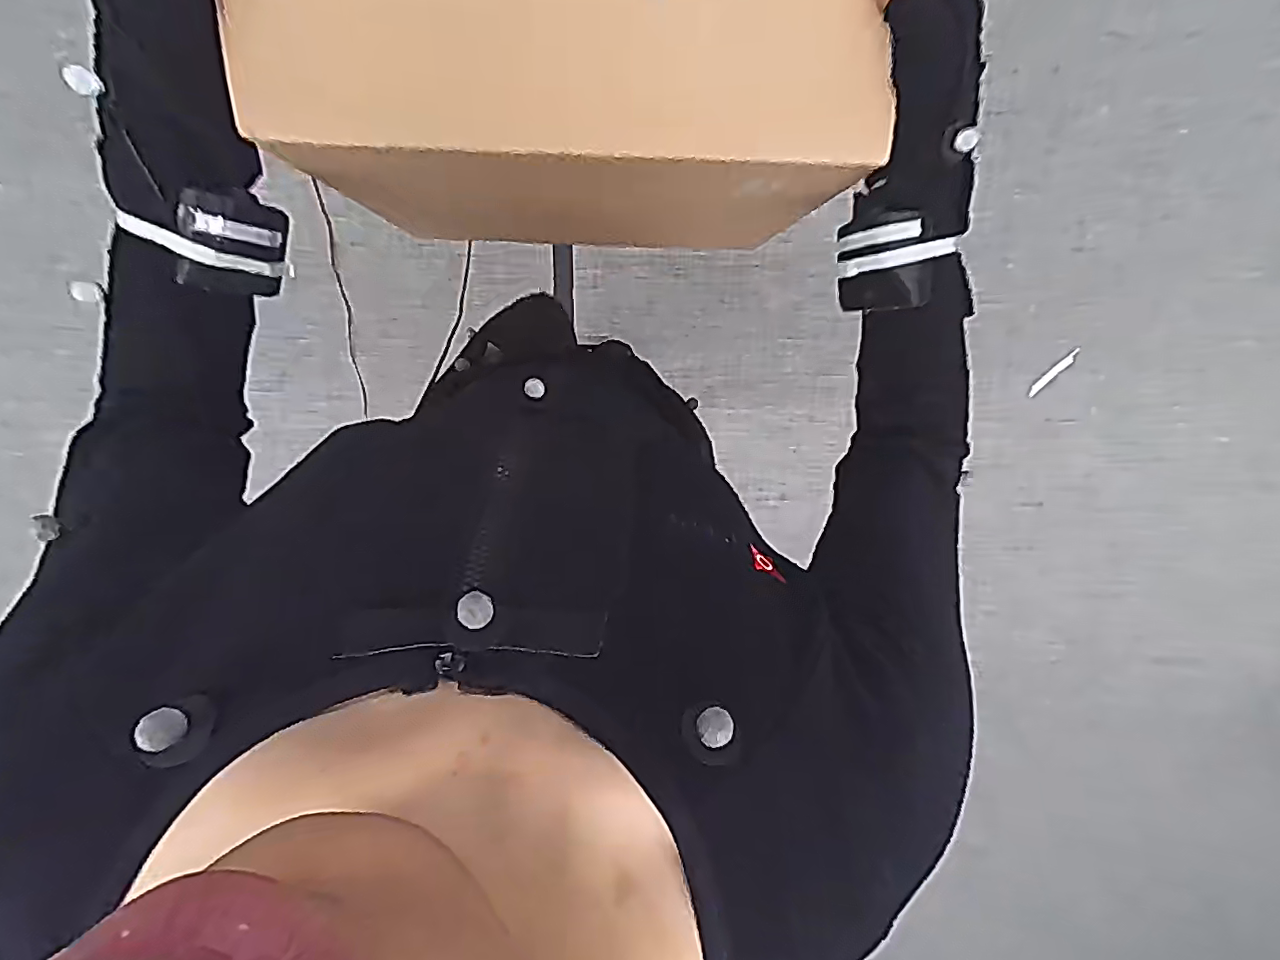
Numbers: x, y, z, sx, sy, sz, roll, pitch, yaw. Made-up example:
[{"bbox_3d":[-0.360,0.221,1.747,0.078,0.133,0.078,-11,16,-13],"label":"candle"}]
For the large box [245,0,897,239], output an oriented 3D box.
[{"bbox_3d":[-0.046,-0.401,0.457,0.408,0.320,0.320,0,103,-4],"label":"large box"}]
